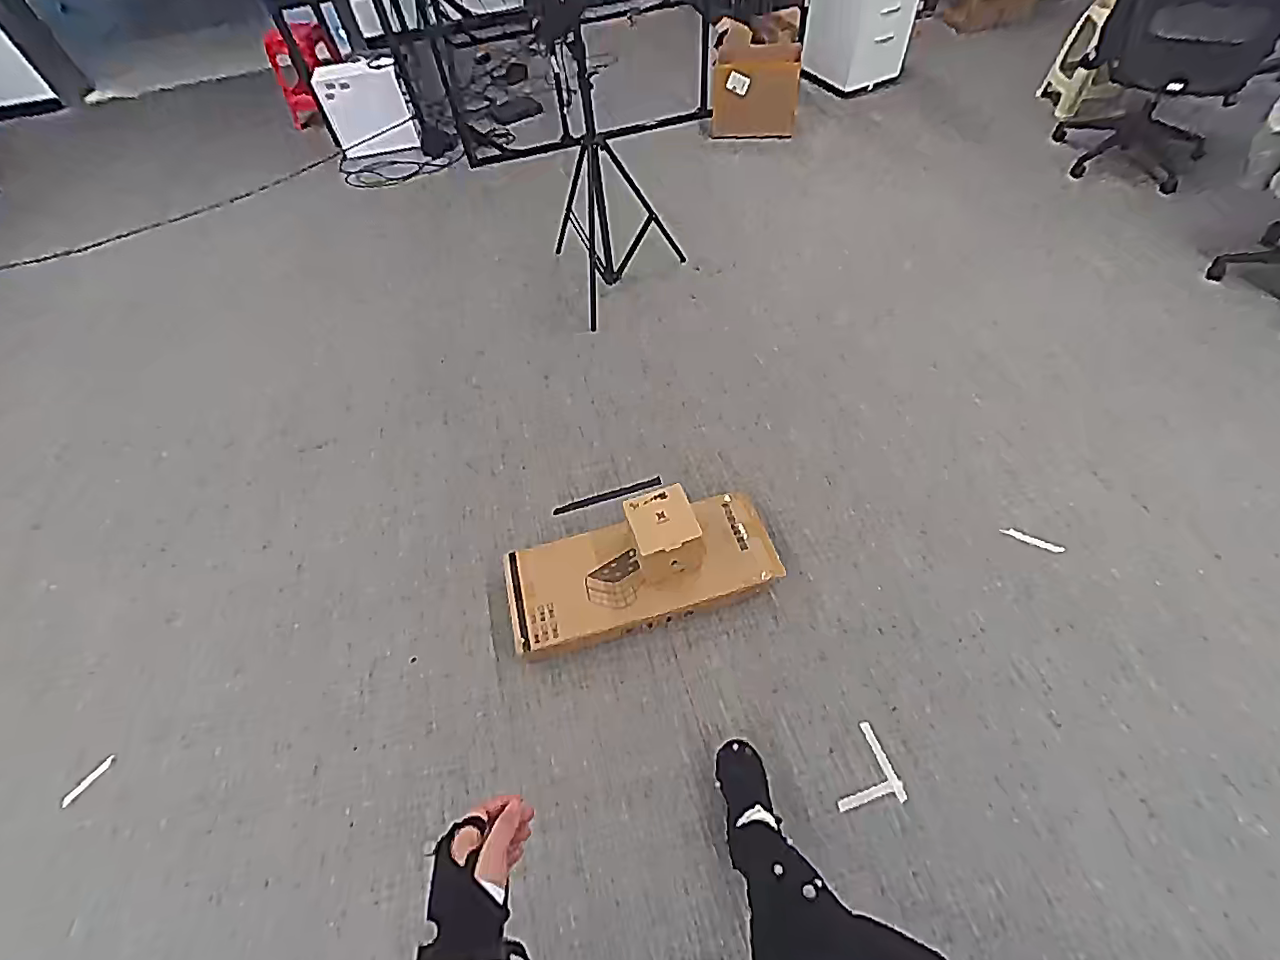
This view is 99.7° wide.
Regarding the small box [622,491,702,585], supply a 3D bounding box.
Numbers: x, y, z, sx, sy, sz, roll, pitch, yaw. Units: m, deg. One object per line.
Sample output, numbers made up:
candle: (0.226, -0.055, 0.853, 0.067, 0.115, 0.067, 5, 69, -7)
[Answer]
small box: (0.062, 0.162, 1.444, 0.168, 0.176, 0.179, -17, 55, -7)
